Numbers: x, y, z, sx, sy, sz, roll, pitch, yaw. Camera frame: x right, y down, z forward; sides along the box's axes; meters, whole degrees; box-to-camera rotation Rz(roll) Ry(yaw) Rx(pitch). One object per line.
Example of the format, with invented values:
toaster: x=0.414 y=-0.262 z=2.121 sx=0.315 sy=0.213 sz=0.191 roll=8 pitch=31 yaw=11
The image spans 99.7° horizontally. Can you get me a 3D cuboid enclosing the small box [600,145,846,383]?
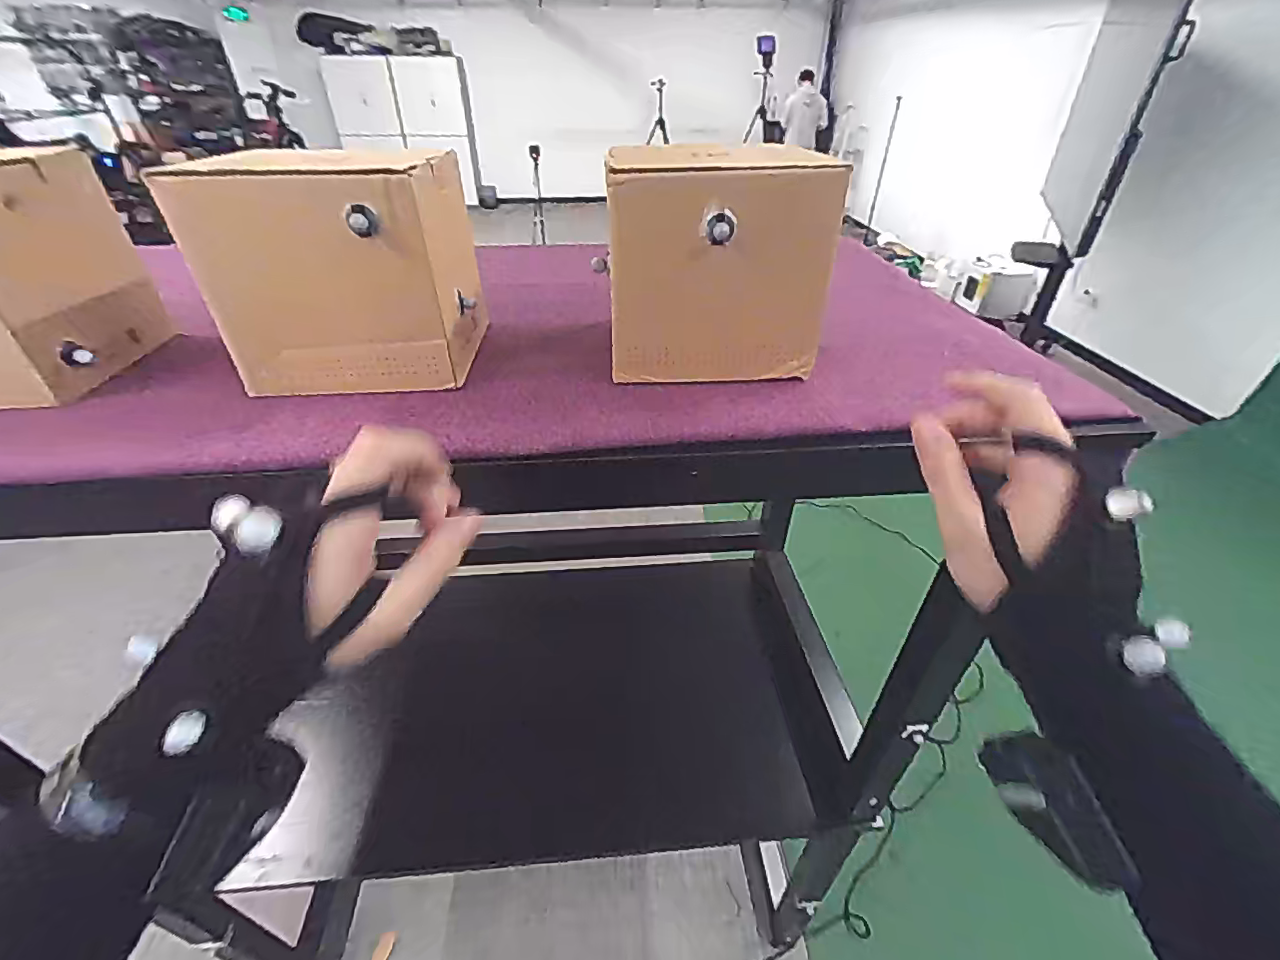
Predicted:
small box: x=0.060 y=-0.195 z=0.487 sx=0.179 sy=0.176 sz=0.168 roll=-1 pitch=36 yaw=-1

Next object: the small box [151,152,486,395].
small box: x=-0.247 y=-0.182 z=0.474 sx=0.179 sy=0.176 sz=0.168 roll=-3 pitch=36 yaw=-4

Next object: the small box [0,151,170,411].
small box: x=-0.554 y=-0.162 z=0.445 sx=0.179 sy=0.176 sz=0.168 roll=-5 pitch=36 yaw=-5
